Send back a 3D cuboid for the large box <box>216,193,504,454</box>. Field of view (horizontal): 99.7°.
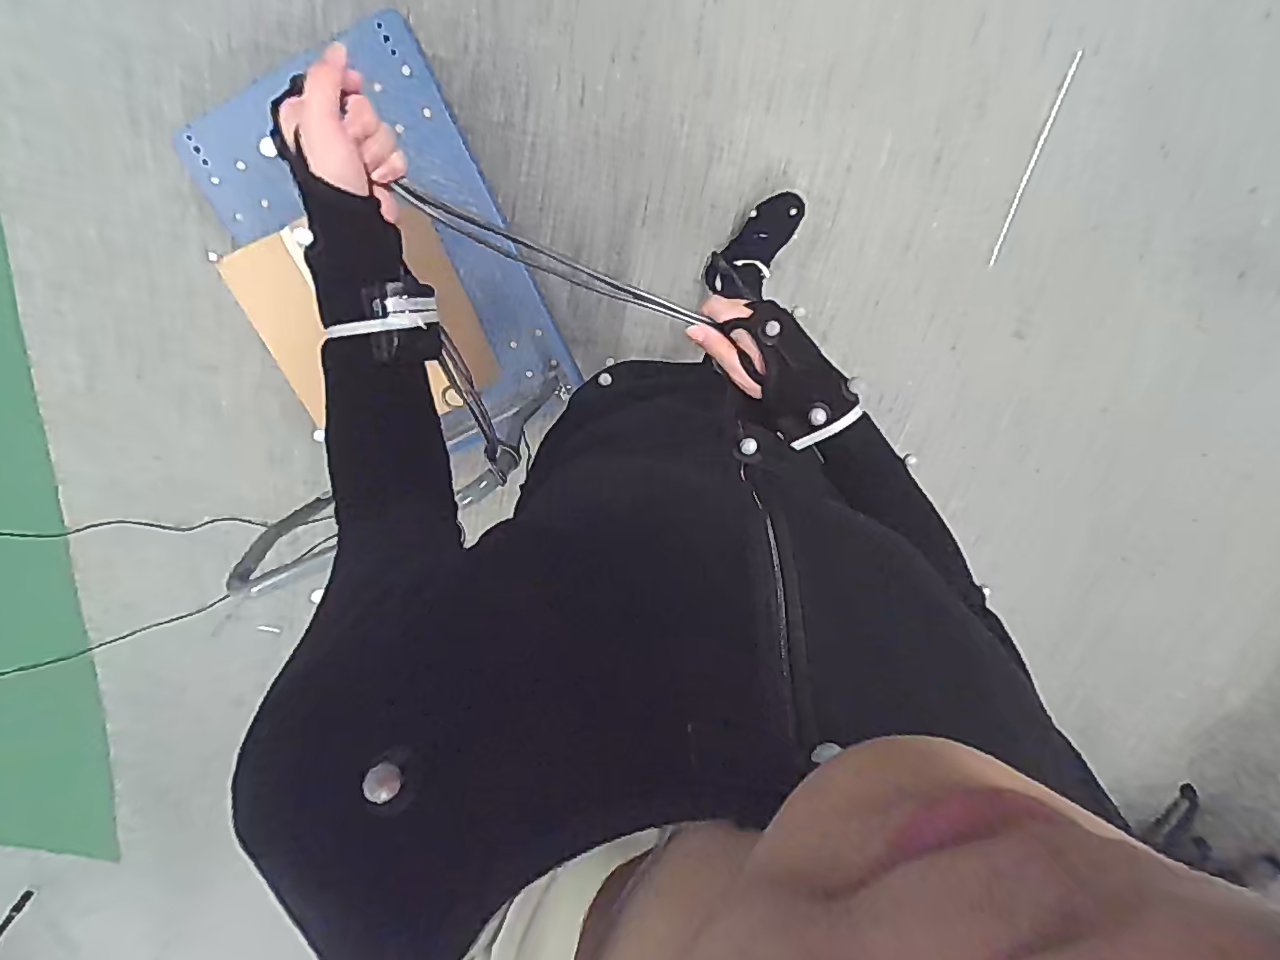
[{"bbox_3d":[-0.544,-0.326,1.150,0.320,0.320,0.408,-21,111,7],"label":"large box"}]
